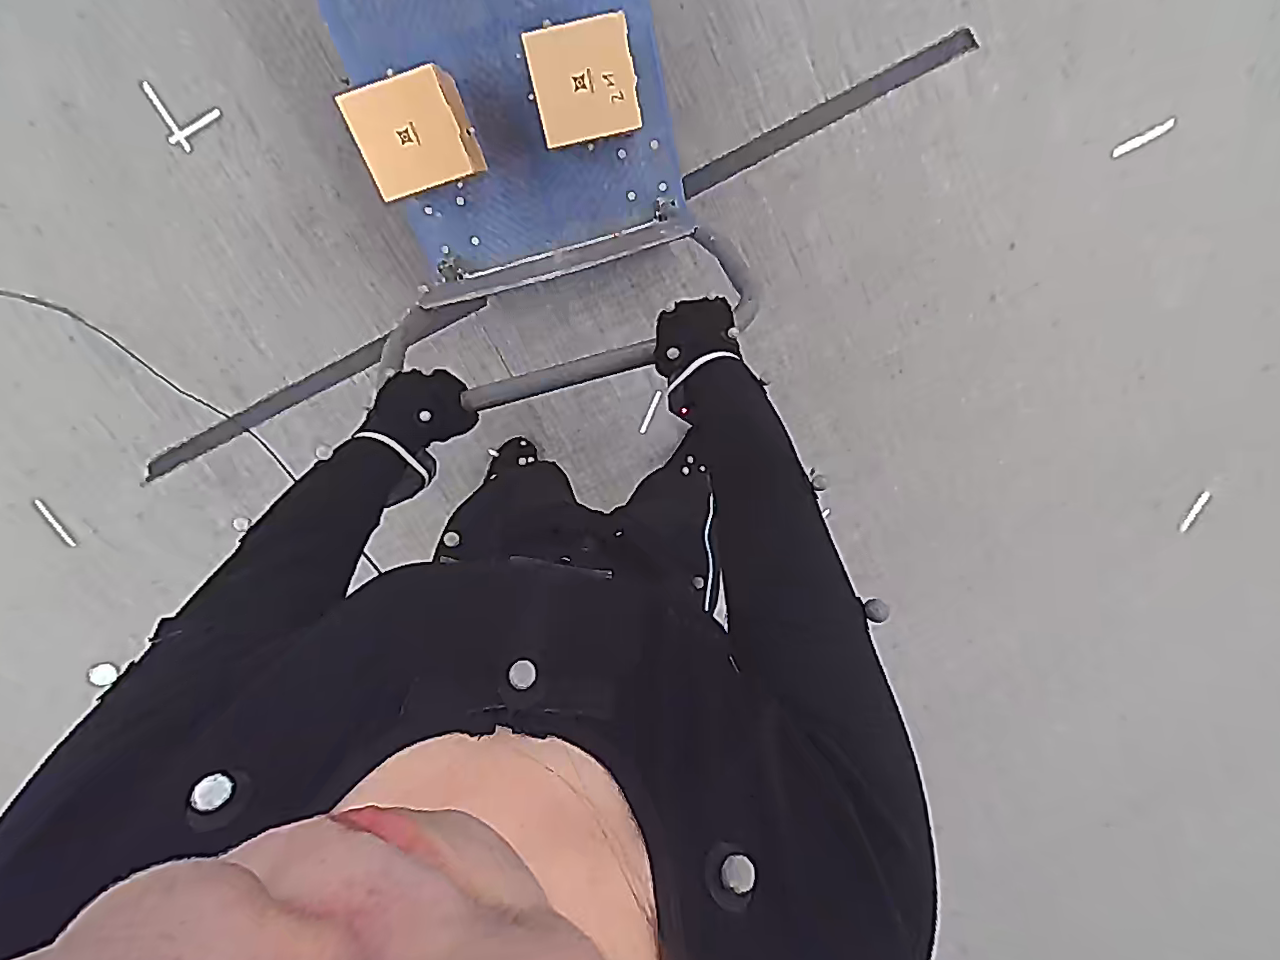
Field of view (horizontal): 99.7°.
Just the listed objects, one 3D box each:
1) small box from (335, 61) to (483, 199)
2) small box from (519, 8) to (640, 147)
[{"bbox_3d":[-0.410,-0.631,0.995,0.179,0.176,0.168,-18,120,2],"label":"small box"},{"bbox_3d":[-0.105,-0.717,0.982,0.179,0.176,0.168,-13,121,0],"label":"small box"}]
